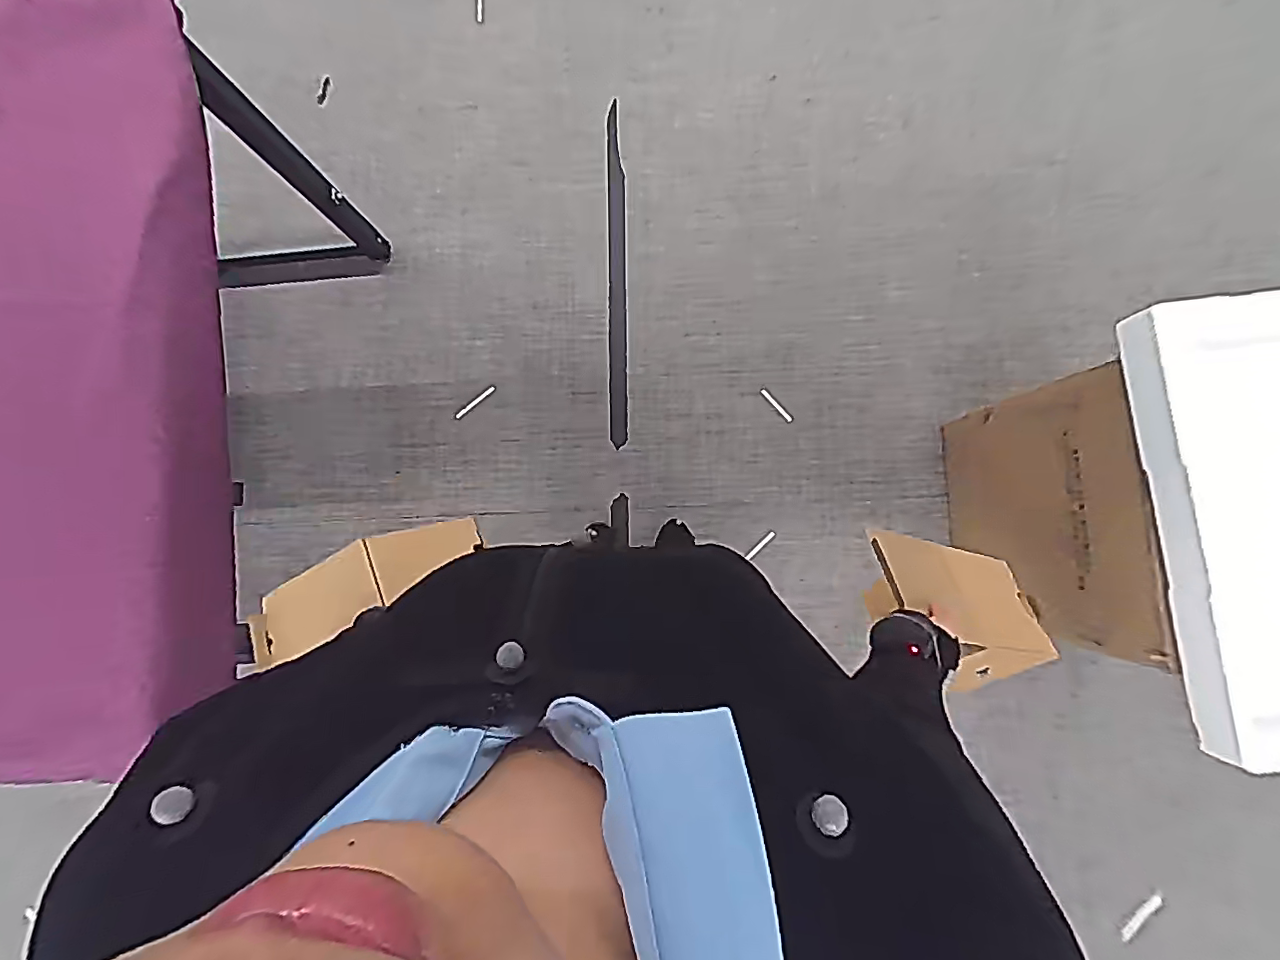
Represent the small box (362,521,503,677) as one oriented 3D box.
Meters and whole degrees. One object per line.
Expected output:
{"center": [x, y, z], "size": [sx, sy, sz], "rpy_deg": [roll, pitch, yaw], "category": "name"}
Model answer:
{"center": [-0.344, 0.195, 0.890], "size": [0.179, 0.176, 0.168], "rpy_deg": [-10, 51, -34], "category": "small box"}
